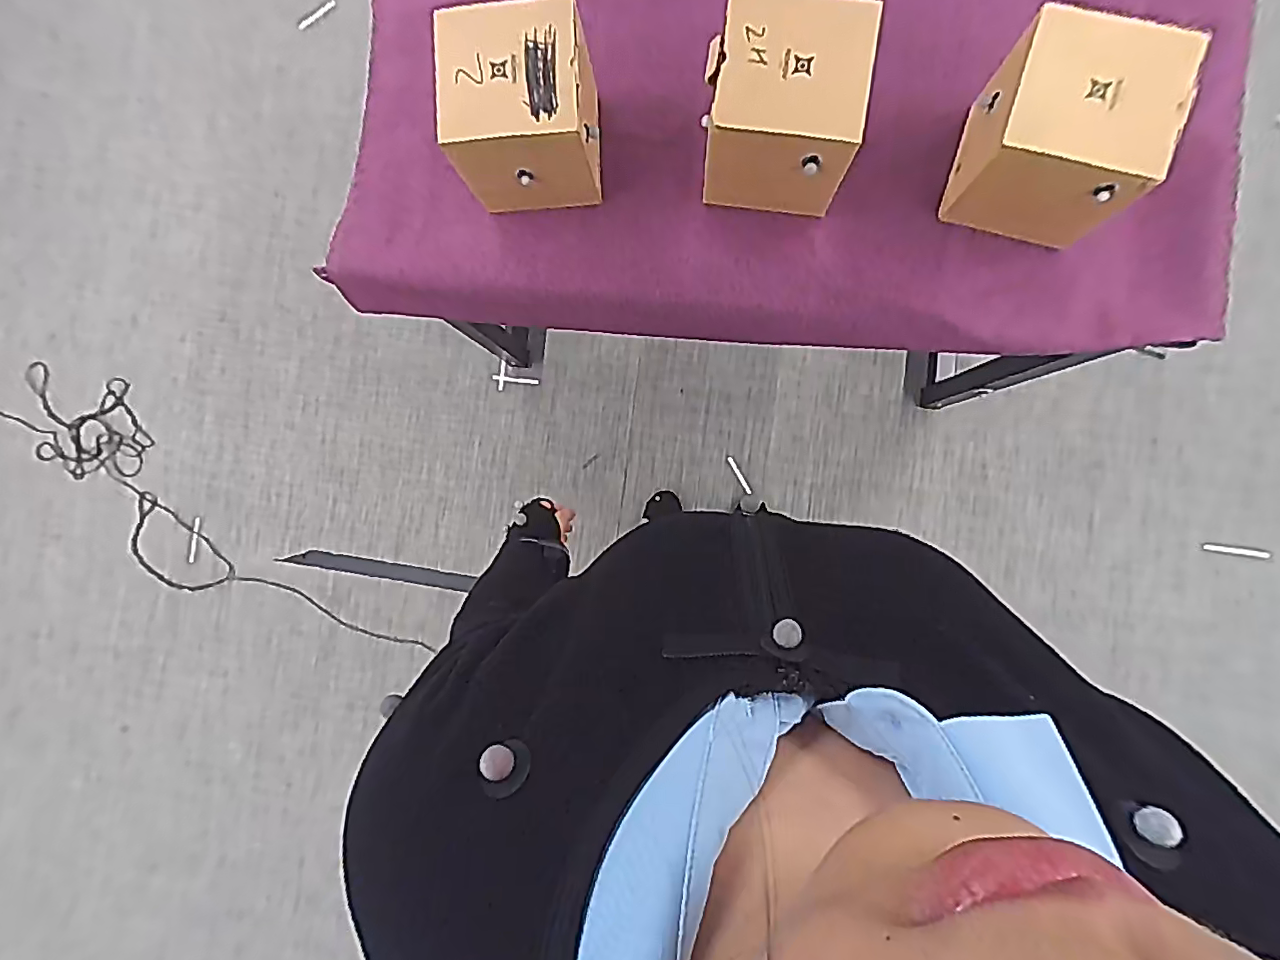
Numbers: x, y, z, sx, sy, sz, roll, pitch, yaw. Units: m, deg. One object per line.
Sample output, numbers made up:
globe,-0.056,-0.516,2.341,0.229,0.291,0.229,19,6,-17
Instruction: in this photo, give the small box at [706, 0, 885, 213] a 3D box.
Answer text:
small box,0.186,-0.468,0.696,0.179,0.176,0.168,9,89,5

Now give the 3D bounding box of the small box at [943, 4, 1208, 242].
small box,0.512,-0.421,0.666,0.179,0.176,0.168,16,90,5
